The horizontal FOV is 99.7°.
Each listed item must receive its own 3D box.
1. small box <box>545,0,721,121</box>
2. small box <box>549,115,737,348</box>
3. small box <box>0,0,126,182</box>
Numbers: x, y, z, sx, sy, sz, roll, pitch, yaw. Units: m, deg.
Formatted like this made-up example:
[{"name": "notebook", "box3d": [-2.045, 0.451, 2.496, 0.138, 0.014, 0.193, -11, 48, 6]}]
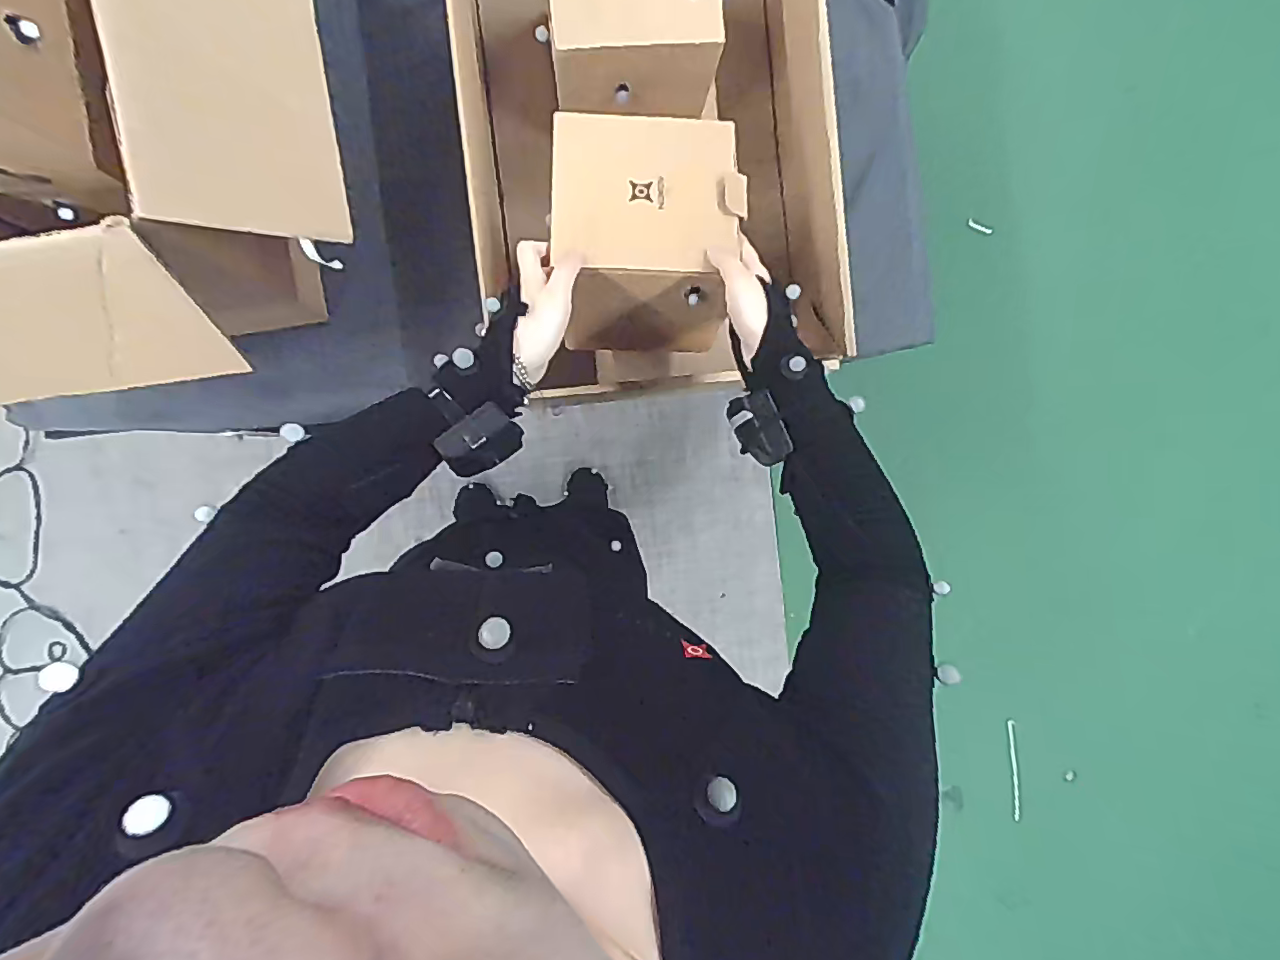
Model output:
[{"name": "small box", "box3d": [-0.015, -0.521, 0.616, 0.179, 0.176, 0.168, -6, 96, -3]}, {"name": "small box", "box3d": [-0.002, -0.255, 0.588, 0.179, 0.176, 0.168, 0, 79, -5]}, {"name": "small box", "box3d": [-0.578, -0.369, 0.436, 0.168, 0.176, 0.179, -5, 96, -5]}]
